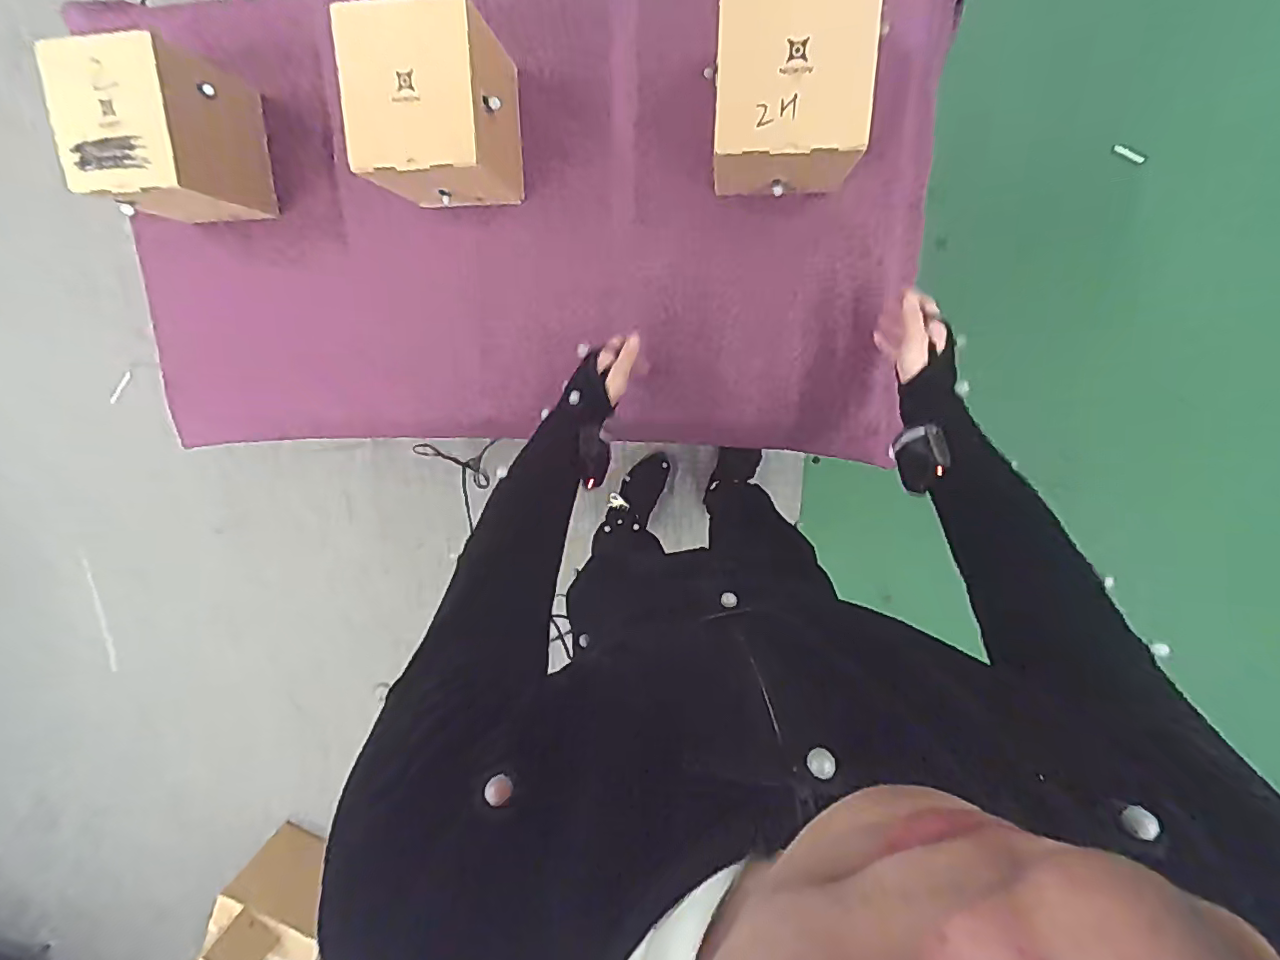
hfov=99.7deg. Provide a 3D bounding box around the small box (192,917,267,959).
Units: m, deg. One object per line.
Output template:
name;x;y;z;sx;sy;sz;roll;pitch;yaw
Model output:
small box;-1.379;1.600;1.769;0.168;0.176;0.179;44;103;-4

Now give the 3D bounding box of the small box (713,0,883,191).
small box;0.175;-0.465;0.646;0.168;0.176;0.179;3;104;8

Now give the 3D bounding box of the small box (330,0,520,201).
small box;-0.262;-0.479;0.700;0.168;0.176;0.179;1;105;6

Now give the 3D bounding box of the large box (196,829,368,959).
large box;-1.322;1.608;2.019;0.408;0.320;0.320;25;106;0
